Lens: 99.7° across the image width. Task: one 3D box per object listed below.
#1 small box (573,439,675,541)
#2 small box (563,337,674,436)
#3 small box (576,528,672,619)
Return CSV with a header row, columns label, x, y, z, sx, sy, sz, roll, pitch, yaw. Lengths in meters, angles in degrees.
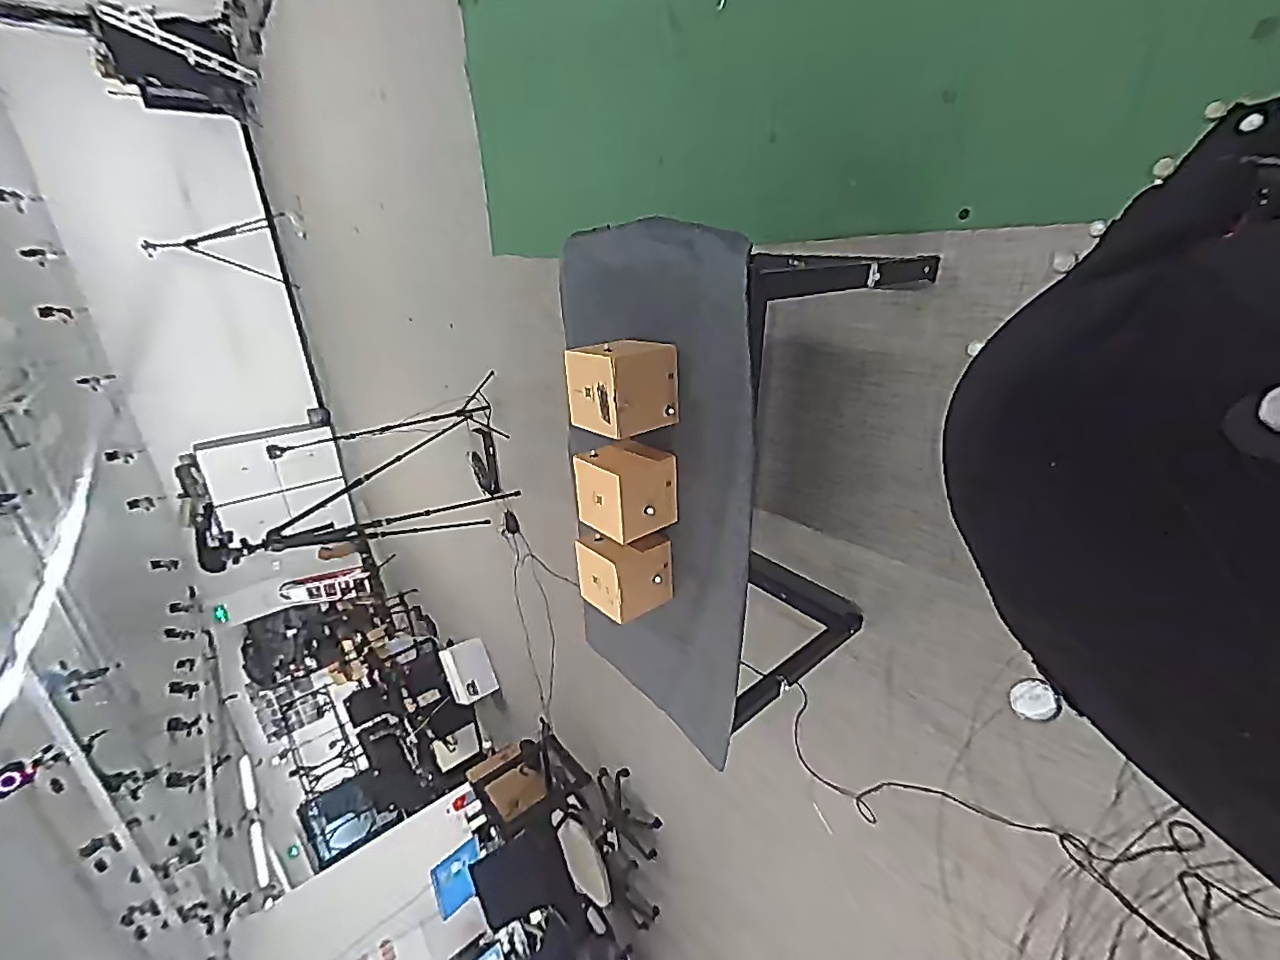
label,x,y,z,sx,sy,sz,roll,pitch,yaw
small box,-0.030,0.013,1.245,0.179,0.176,0.168,22,124,47
small box,-0.040,-0.206,1.146,0.179,0.176,0.168,22,124,48
small box,-0.038,0.212,1.349,0.179,0.176,0.168,21,123,47
